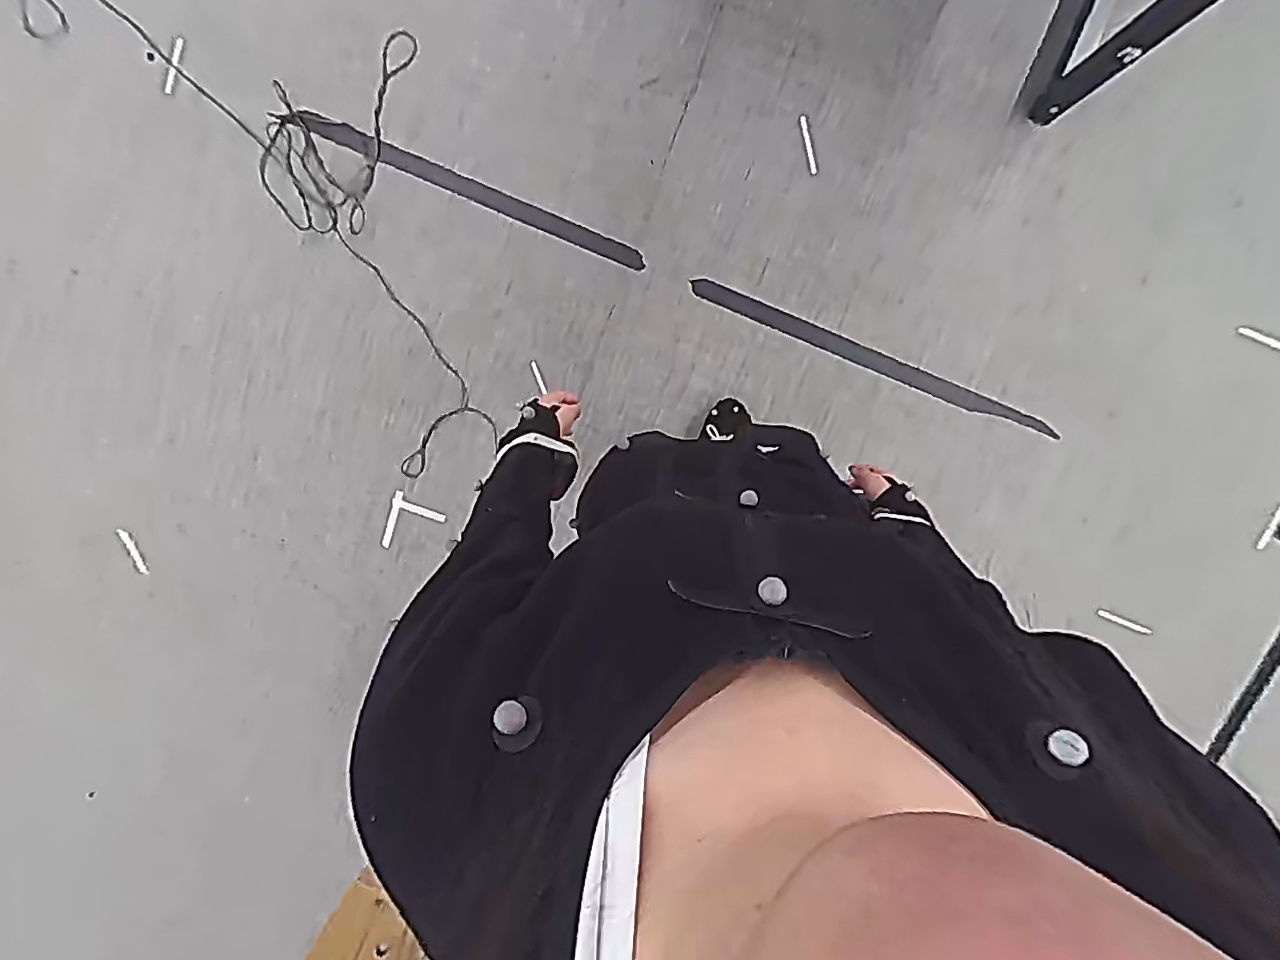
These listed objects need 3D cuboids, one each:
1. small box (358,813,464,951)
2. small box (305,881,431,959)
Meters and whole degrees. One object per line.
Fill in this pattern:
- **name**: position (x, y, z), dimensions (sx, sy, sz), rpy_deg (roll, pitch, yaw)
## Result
- **small box**: position (-0.474, 0.817, 1.078), dimensions (0.168, 0.176, 0.179), rpy_deg (27, 98, -2)
- **small box**: position (-0.481, 0.838, 0.916), dimensions (0.168, 0.176, 0.179), rpy_deg (25, 100, -2)
